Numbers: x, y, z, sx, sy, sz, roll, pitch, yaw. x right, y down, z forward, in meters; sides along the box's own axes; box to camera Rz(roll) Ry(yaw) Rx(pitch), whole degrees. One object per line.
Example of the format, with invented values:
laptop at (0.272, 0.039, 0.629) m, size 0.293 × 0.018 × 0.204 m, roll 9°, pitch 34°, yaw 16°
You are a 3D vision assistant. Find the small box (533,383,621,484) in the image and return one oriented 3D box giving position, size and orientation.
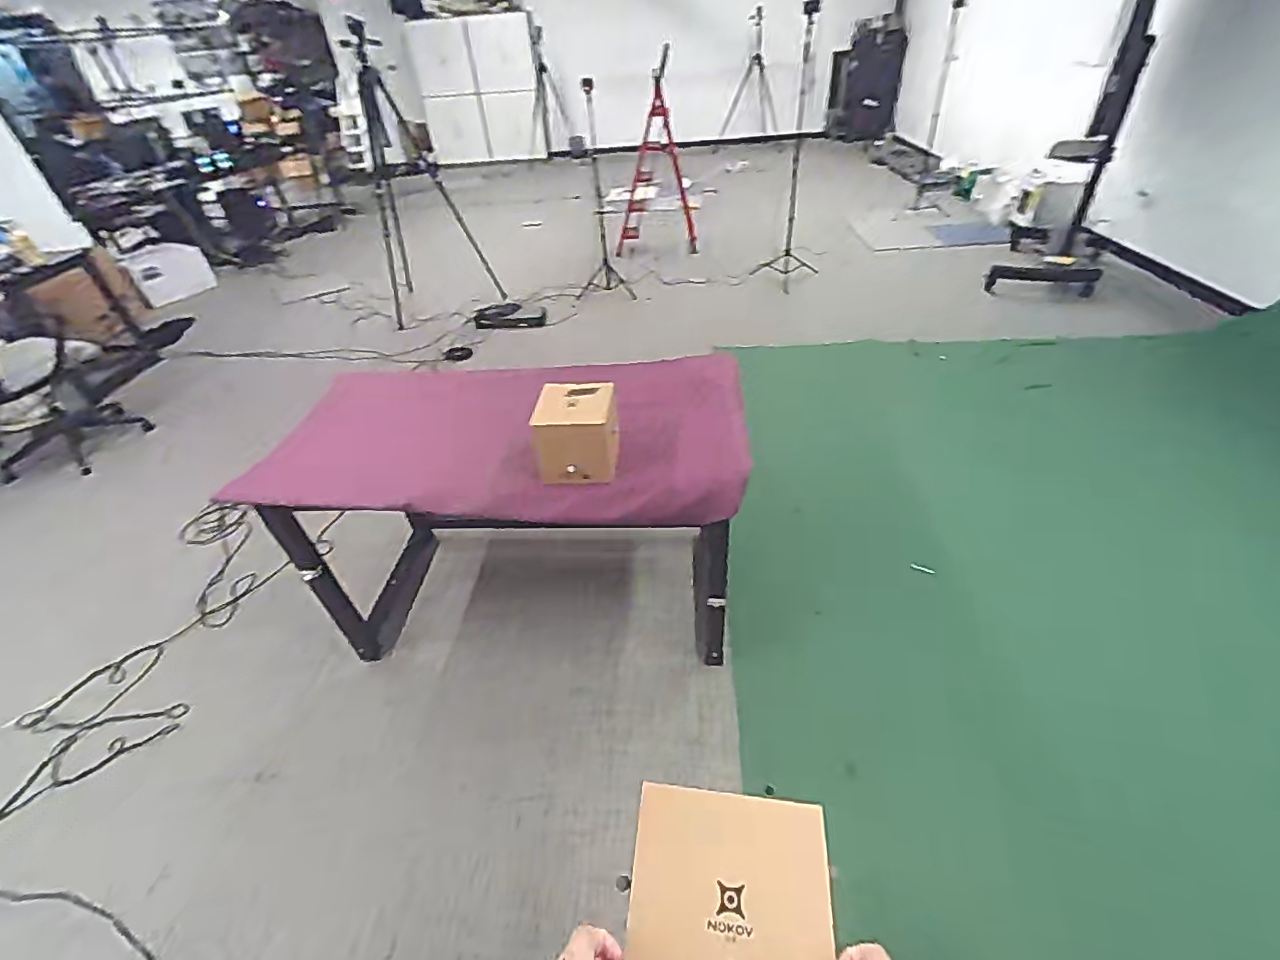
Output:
small box at (-0.138, -0.110, 1.257) m, size 0.168 × 0.176 × 0.179 m, roll -1°, pitch 40°, yaw 6°

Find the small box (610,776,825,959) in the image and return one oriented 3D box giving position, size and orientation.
small box at (0.066, 0.396, 0.494) m, size 0.168 × 0.176 × 0.179 m, roll 3°, pitch 49°, yaw 7°
